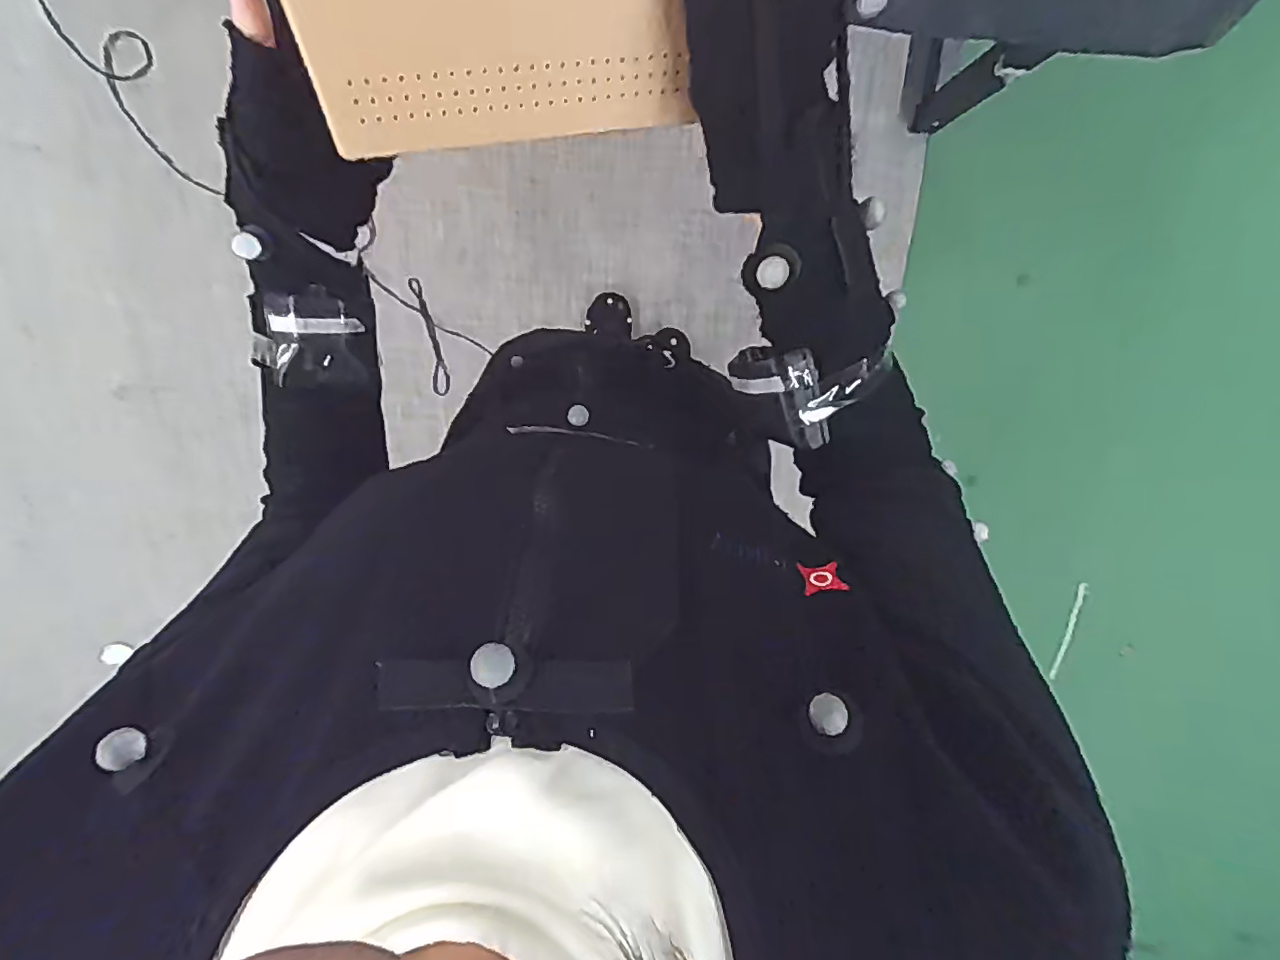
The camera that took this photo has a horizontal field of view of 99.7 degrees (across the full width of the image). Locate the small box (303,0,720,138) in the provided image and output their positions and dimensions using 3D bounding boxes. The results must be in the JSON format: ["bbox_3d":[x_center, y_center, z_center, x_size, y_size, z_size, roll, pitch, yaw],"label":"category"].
[{"bbox_3d":[-0.064,-0.275,0.233,0.179,0.168,0.176,-15,143,-11],"label":"small box"}]
